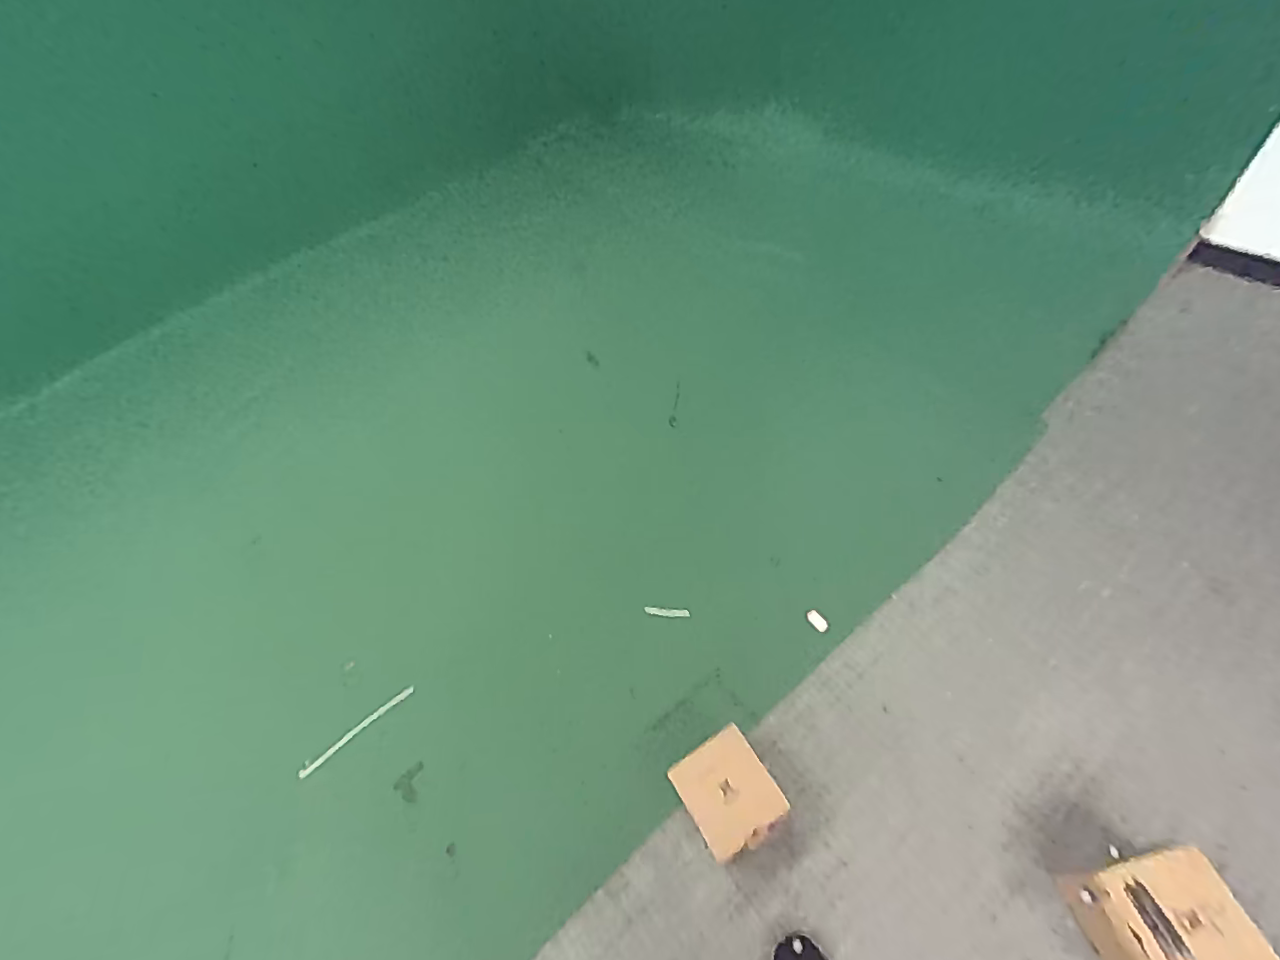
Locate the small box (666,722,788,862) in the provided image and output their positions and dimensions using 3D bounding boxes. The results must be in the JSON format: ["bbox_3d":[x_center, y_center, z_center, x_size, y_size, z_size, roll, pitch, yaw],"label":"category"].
[{"bbox_3d":[0.173,0.622,1.079,0.168,0.176,0.179,-31,55,-12],"label":"small box"}]
